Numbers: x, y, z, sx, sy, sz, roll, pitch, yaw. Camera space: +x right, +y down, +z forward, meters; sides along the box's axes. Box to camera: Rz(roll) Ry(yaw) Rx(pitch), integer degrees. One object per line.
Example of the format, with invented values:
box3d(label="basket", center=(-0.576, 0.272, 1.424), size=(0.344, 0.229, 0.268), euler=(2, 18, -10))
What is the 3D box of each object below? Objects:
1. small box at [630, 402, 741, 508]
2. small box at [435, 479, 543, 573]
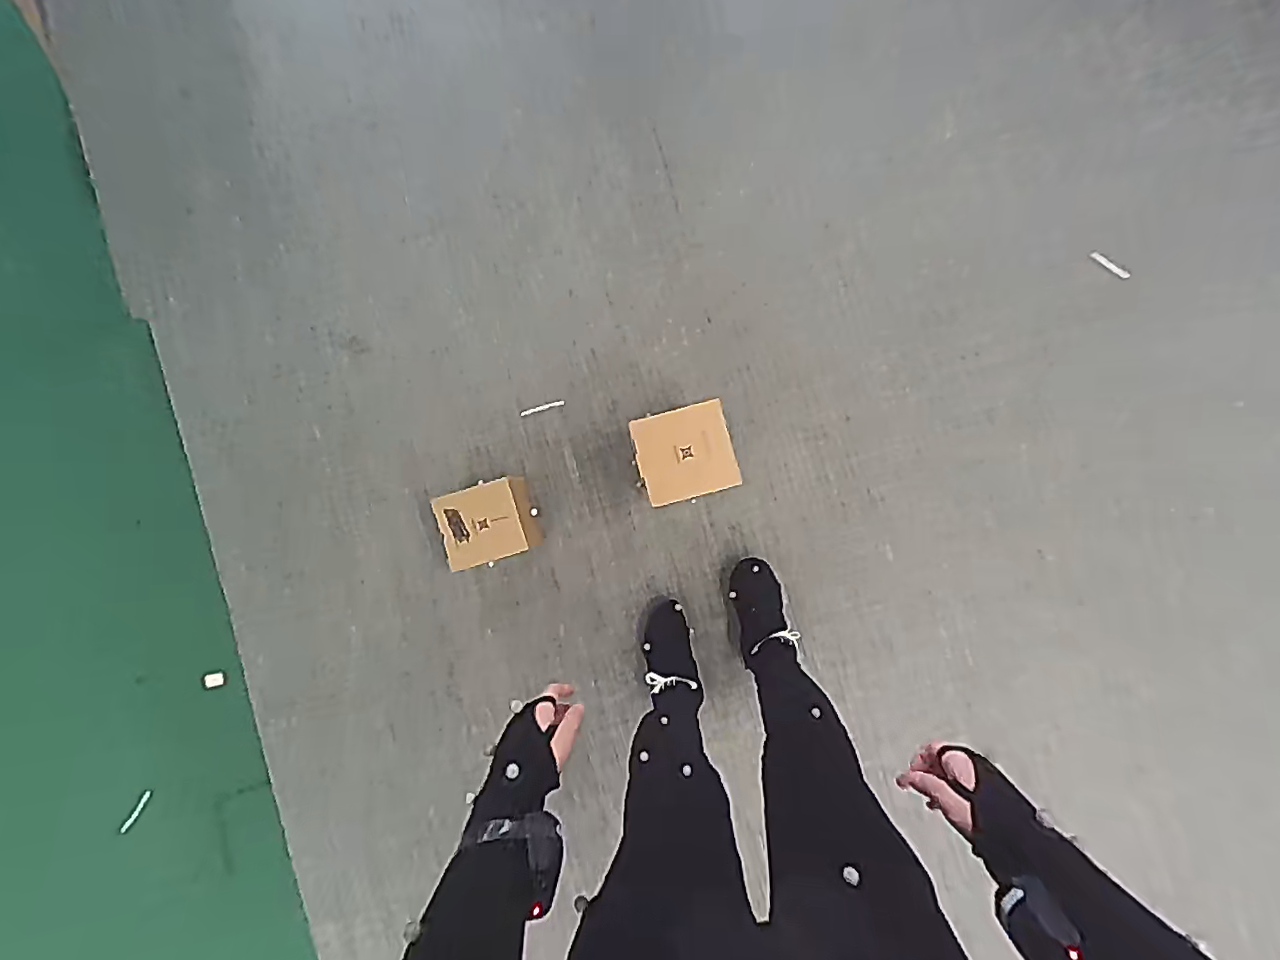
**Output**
box3d(label="small box", center=(0.085, -0.042, 1.072), size=(0.179, 0.176, 0.168), euler=(-15, 89, -1))
box3d(label="small box", center=(-0.338, 0.102, 1.238), size=(0.179, 0.176, 0.168), euler=(-17, 89, -1))
